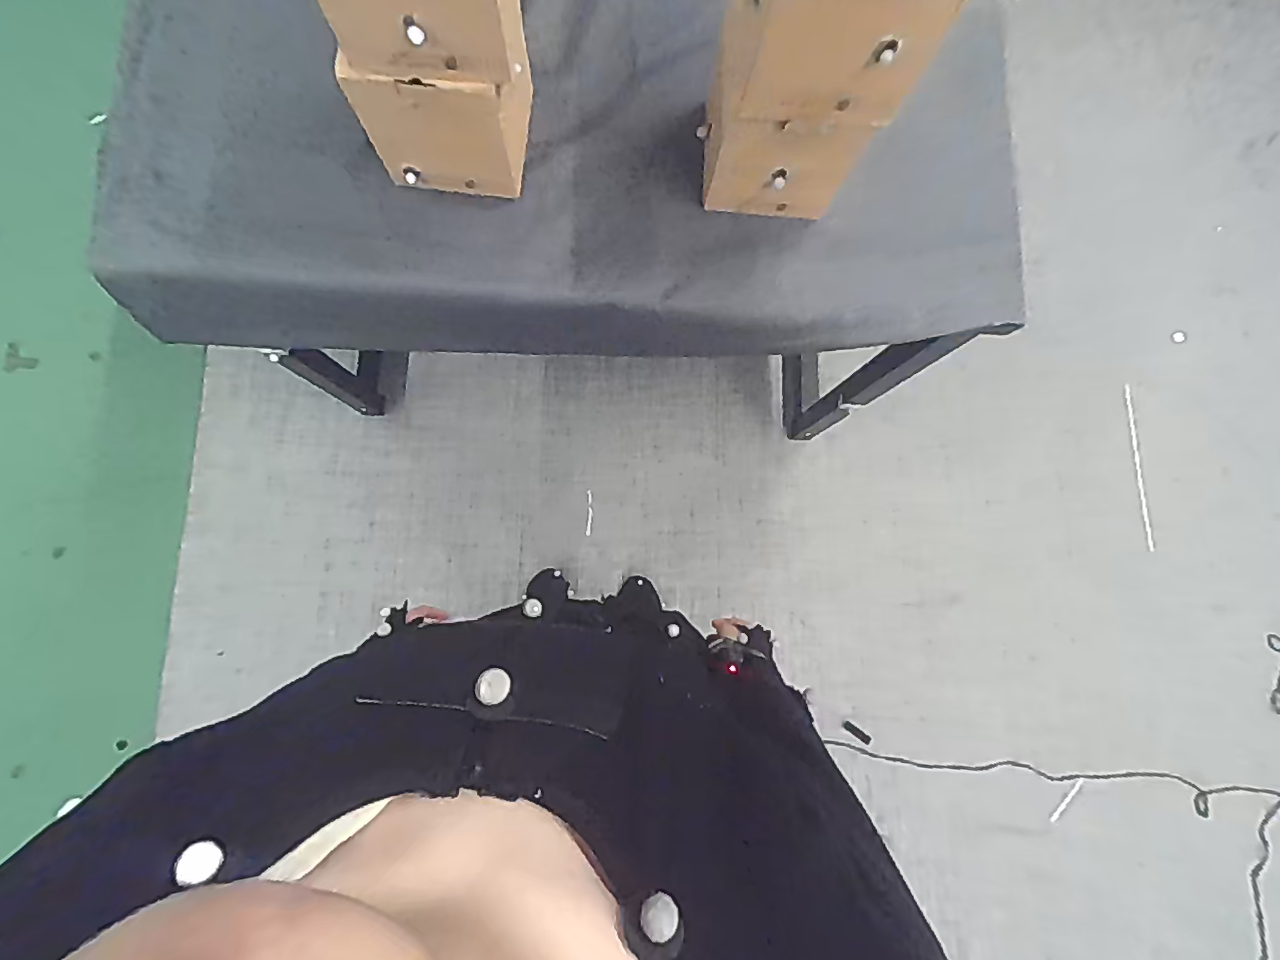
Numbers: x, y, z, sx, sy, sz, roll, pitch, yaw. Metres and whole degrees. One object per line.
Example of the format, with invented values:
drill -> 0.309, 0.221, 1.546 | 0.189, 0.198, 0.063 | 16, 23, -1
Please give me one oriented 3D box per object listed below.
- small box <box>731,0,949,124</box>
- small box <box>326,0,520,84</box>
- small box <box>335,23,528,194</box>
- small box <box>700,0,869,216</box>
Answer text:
small box -> 0.188, -0.482, 0.518 | 0.168, 0.176, 0.179 | 2, 80, -4
small box -> -0.207, -0.516, 0.495 | 0.168, 0.176, 0.179 | 2, 81, -3
small box -> -0.234, -0.482, 0.655 | 0.168, 0.176, 0.179 | 5, 80, -3
small box -> 0.171, -0.462, 0.679 | 0.168, 0.176, 0.179 | 3, 81, -3
